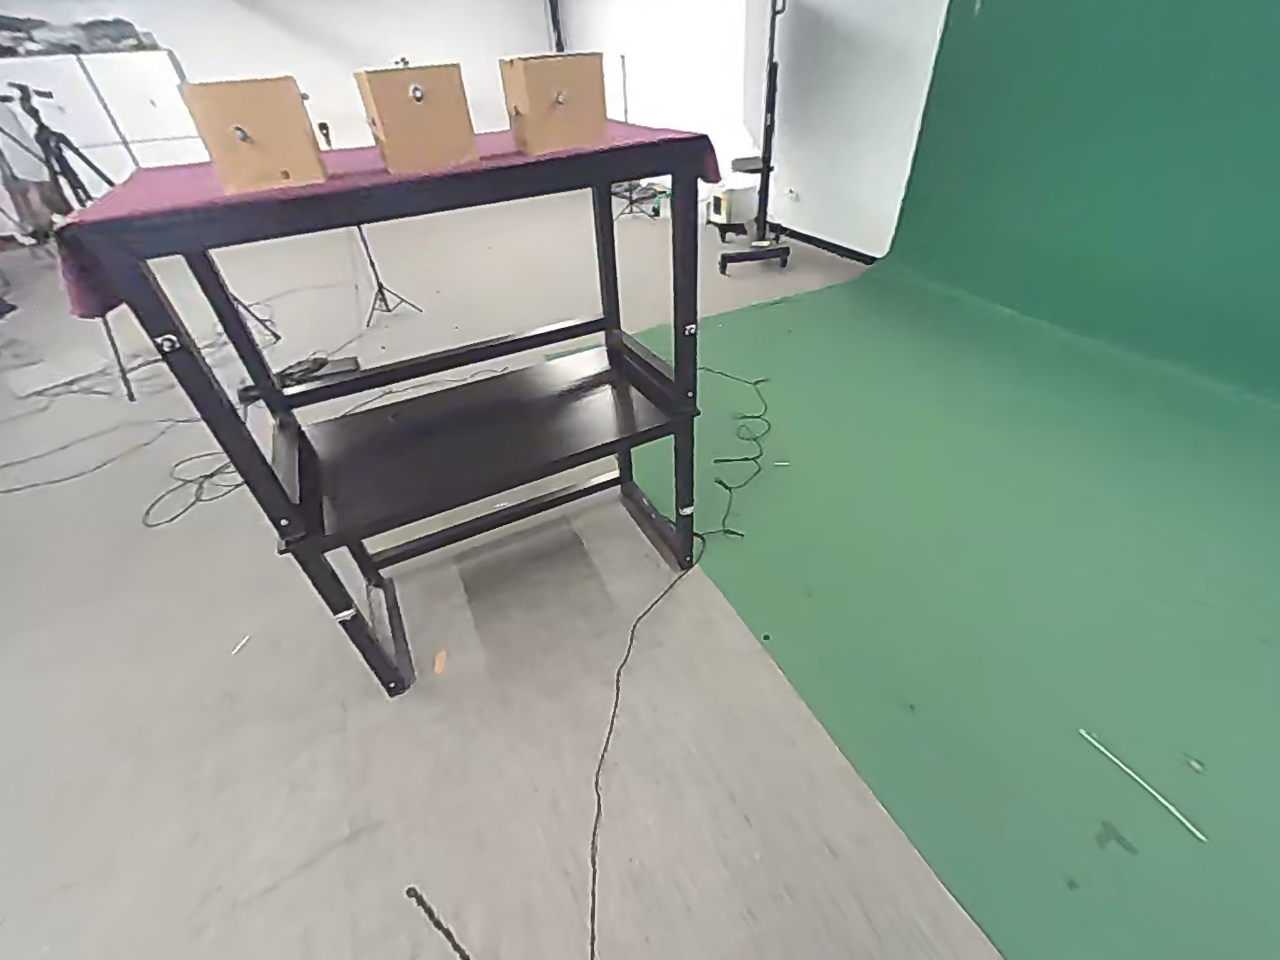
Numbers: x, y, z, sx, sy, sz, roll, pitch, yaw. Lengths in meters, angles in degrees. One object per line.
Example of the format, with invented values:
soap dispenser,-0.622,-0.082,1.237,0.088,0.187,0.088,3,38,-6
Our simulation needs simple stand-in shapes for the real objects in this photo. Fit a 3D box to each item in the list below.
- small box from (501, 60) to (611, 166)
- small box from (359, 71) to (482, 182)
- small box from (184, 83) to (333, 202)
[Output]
small box,-0.179,-0.799,1.178,0.179,0.176,0.168,-21,42,-18
small box,-0.441,-0.713,1.094,0.179,0.176,0.168,-21,41,-20
small box,-0.692,-0.627,1.008,0.168,0.176,0.179,-18,39,-16
